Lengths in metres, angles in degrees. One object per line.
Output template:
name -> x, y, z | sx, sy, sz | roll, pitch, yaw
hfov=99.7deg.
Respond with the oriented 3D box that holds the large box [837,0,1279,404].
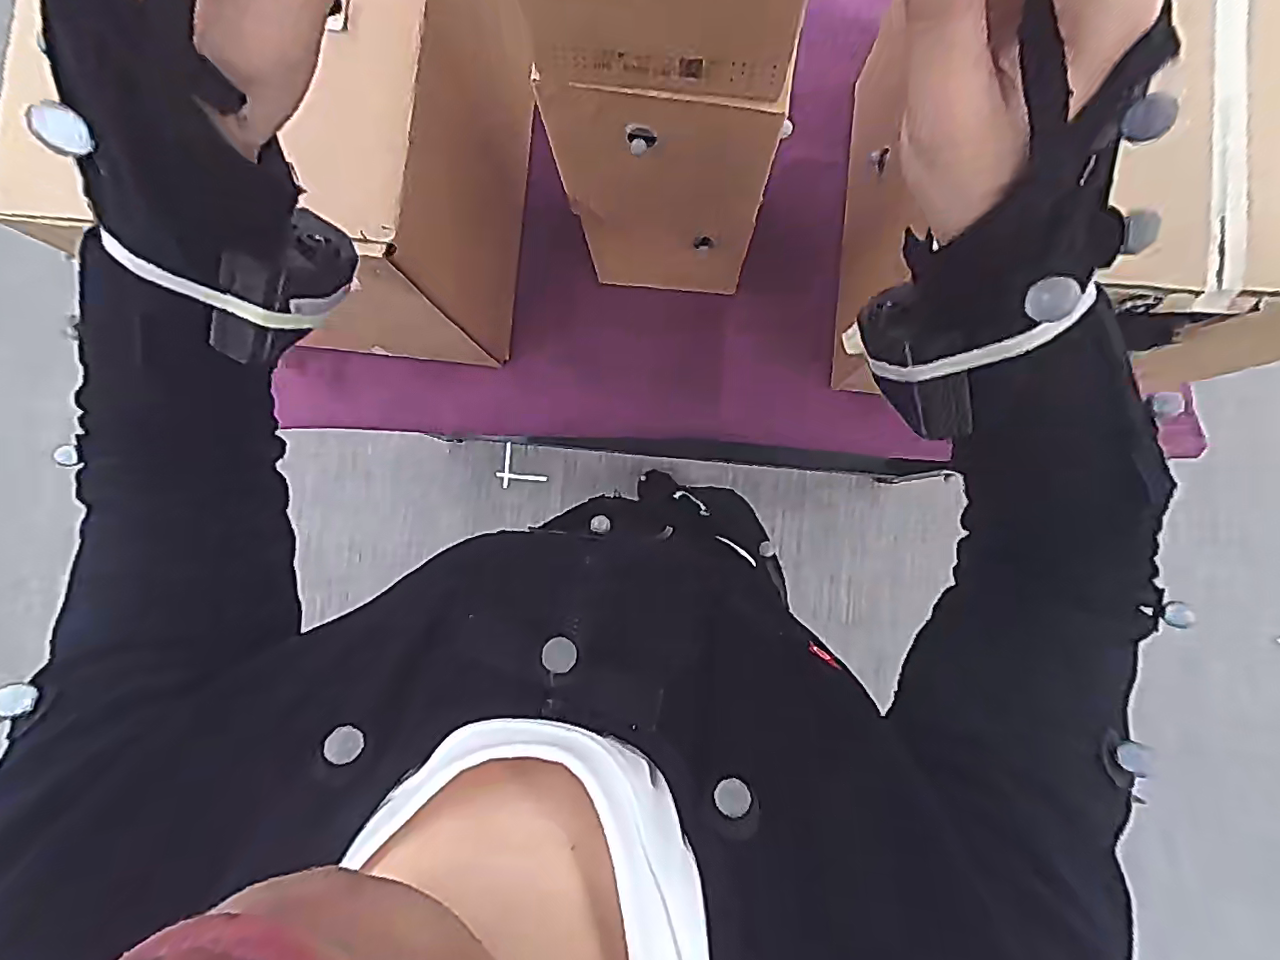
large box -> 0.391, -0.304, 0.516 | 0.320, 0.320, 0.408 | 5, 85, 3
